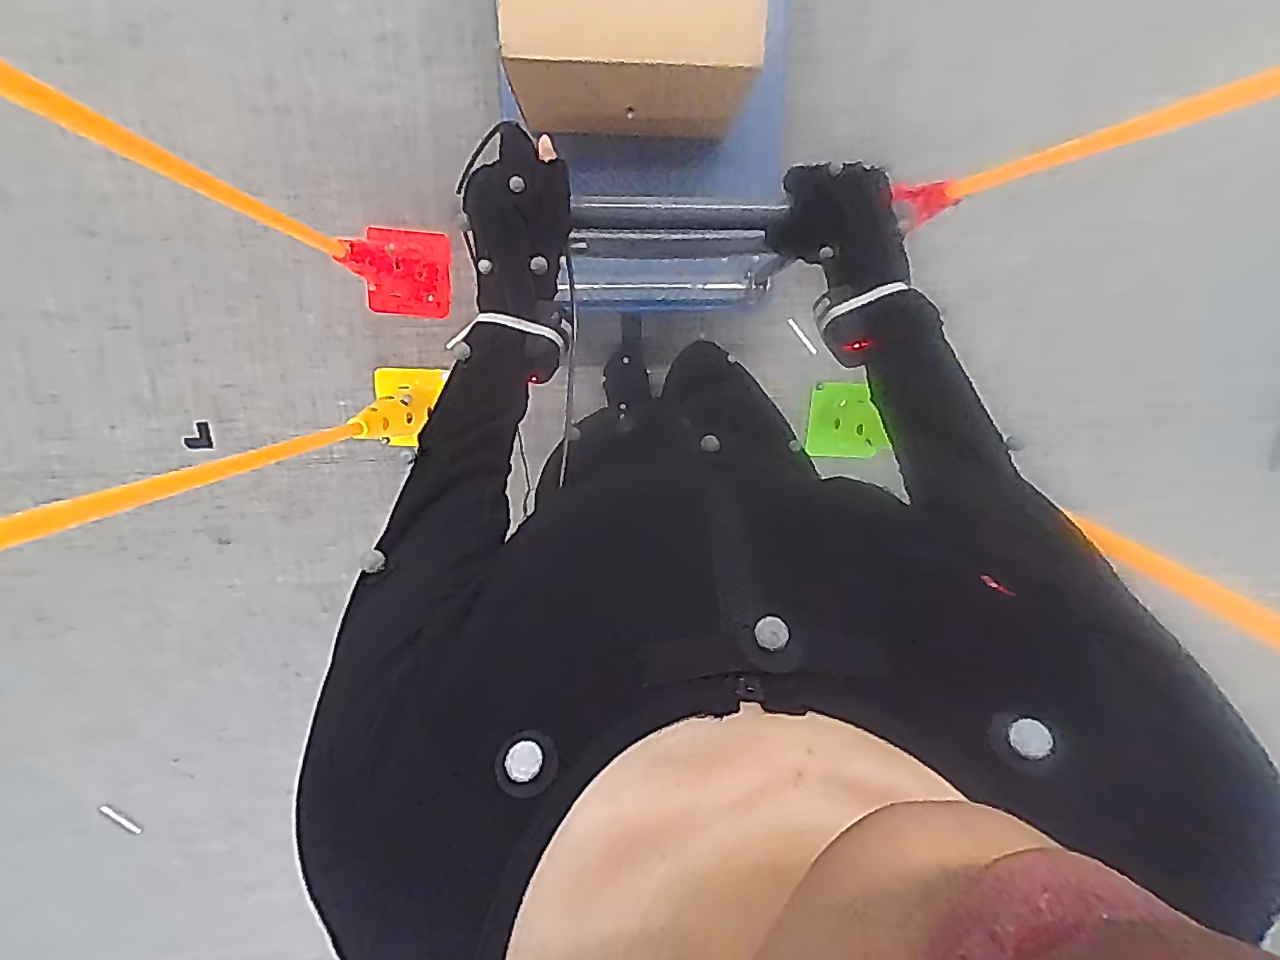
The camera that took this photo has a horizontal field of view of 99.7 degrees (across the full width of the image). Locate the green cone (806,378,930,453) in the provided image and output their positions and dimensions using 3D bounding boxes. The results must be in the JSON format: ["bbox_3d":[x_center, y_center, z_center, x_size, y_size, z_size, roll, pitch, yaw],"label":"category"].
[{"bbox_3d":[0.565,-0.129,1.293,0.202,0.368,0.200,1,104,-5],"label":"green cone"}]

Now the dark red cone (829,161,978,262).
[{"bbox_3d":[0.572,-0.595,1.157,0.201,0.394,0.202,-3,105,-4],"label":"dark red cone"}]

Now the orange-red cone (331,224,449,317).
[{"bbox_3d":[-0.555,-0.469,1.149,0.198,0.360,0.199,5,103,-5],"label":"orange-red cone"}]

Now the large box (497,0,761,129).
[{"bbox_3d":[-0.019,-0.831,0.932,0.408,0.320,0.320,0,105,-3],"label":"large box"}]
